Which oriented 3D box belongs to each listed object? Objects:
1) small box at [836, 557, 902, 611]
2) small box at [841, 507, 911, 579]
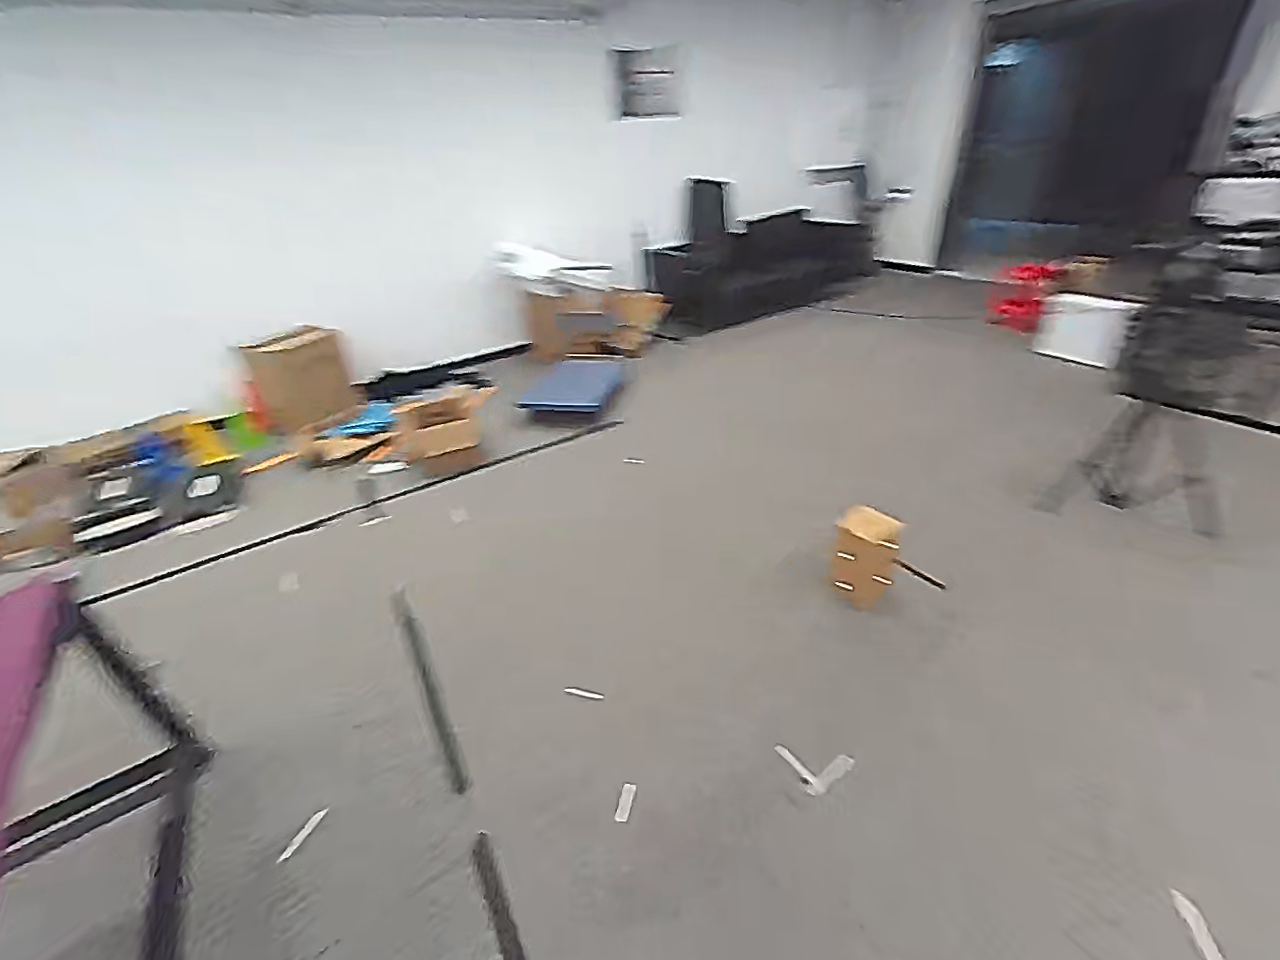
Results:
[{"bbox_3d":[0.879,0.372,2.088,0.179,0.176,0.168,-23,36,-28],"label":"small box"},{"bbox_3d":[0.867,0.233,2.004,0.179,0.176,0.168,-24,35,-26],"label":"small box"}]
